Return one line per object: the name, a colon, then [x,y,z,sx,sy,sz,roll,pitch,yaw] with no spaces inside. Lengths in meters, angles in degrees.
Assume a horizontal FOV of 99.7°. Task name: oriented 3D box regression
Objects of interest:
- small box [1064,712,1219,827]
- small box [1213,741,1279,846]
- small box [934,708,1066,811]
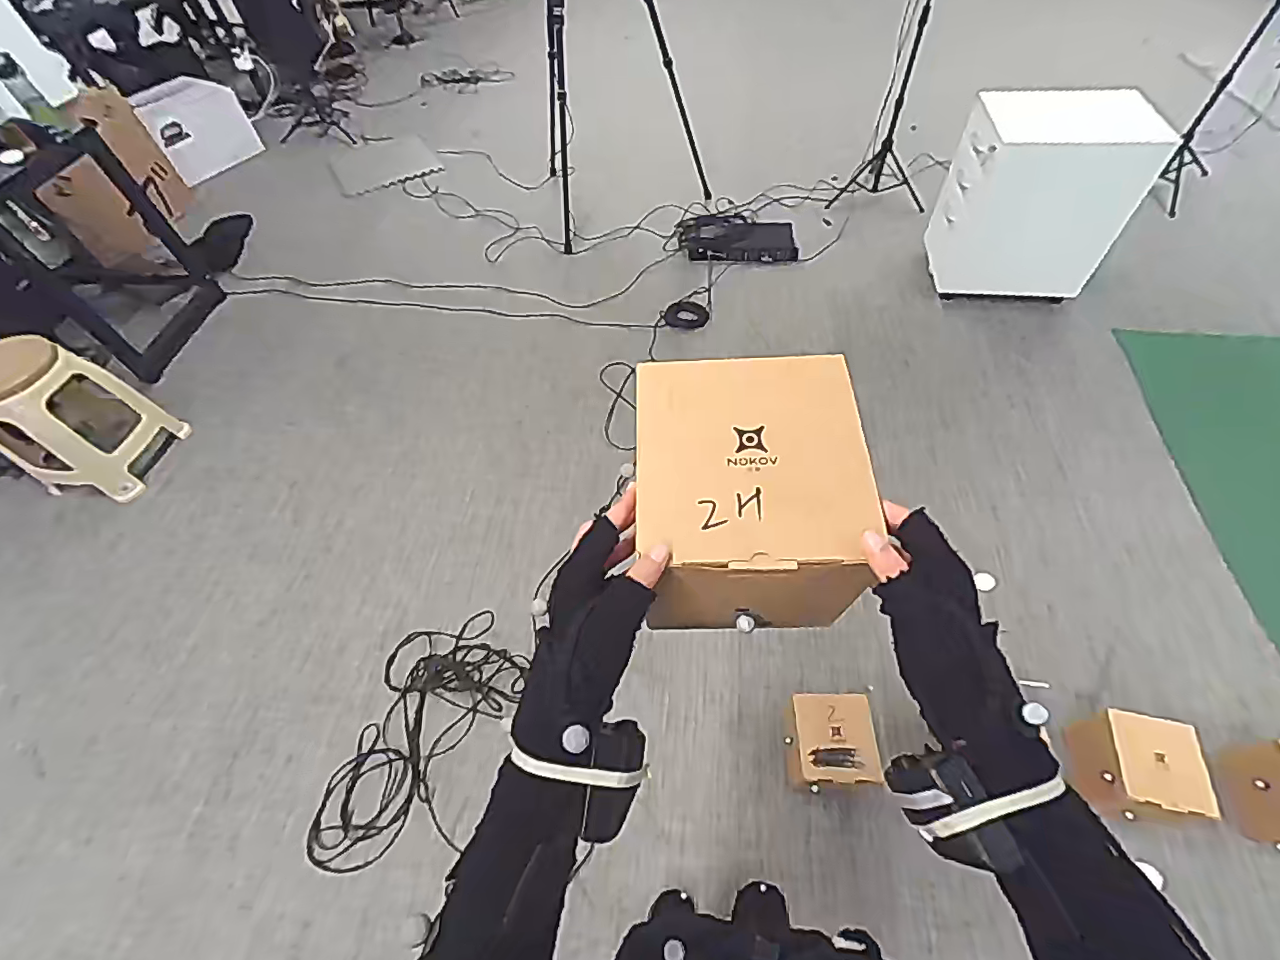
small box: [1.062,0.626,1.168,0.168,0.176,0.179,9,56,10]
small box: [1.375,0.662,1.120,0.168,0.176,0.179,5,54,7]
small box: [0.777,0.618,1.192,0.168,0.176,0.179,0,56,6]
